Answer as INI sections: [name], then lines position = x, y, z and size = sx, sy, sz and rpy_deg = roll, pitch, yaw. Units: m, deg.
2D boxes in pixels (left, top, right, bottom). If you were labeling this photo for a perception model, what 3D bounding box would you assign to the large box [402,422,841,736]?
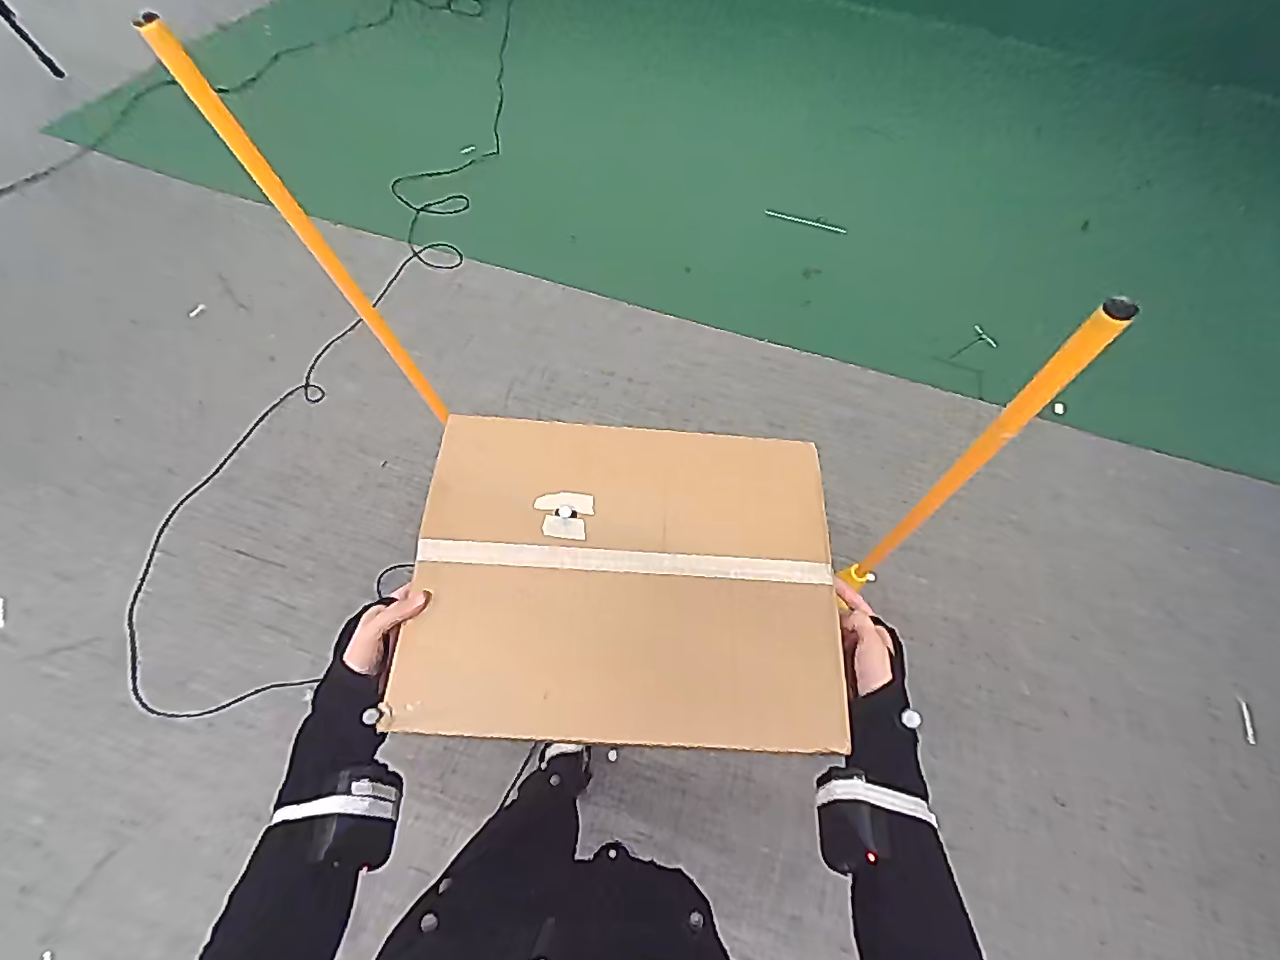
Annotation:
[large box]
position = -0.015, 0.145, 0.680
size = 0.408, 0.320, 0.320
rpy_deg = 3, 64, -1
